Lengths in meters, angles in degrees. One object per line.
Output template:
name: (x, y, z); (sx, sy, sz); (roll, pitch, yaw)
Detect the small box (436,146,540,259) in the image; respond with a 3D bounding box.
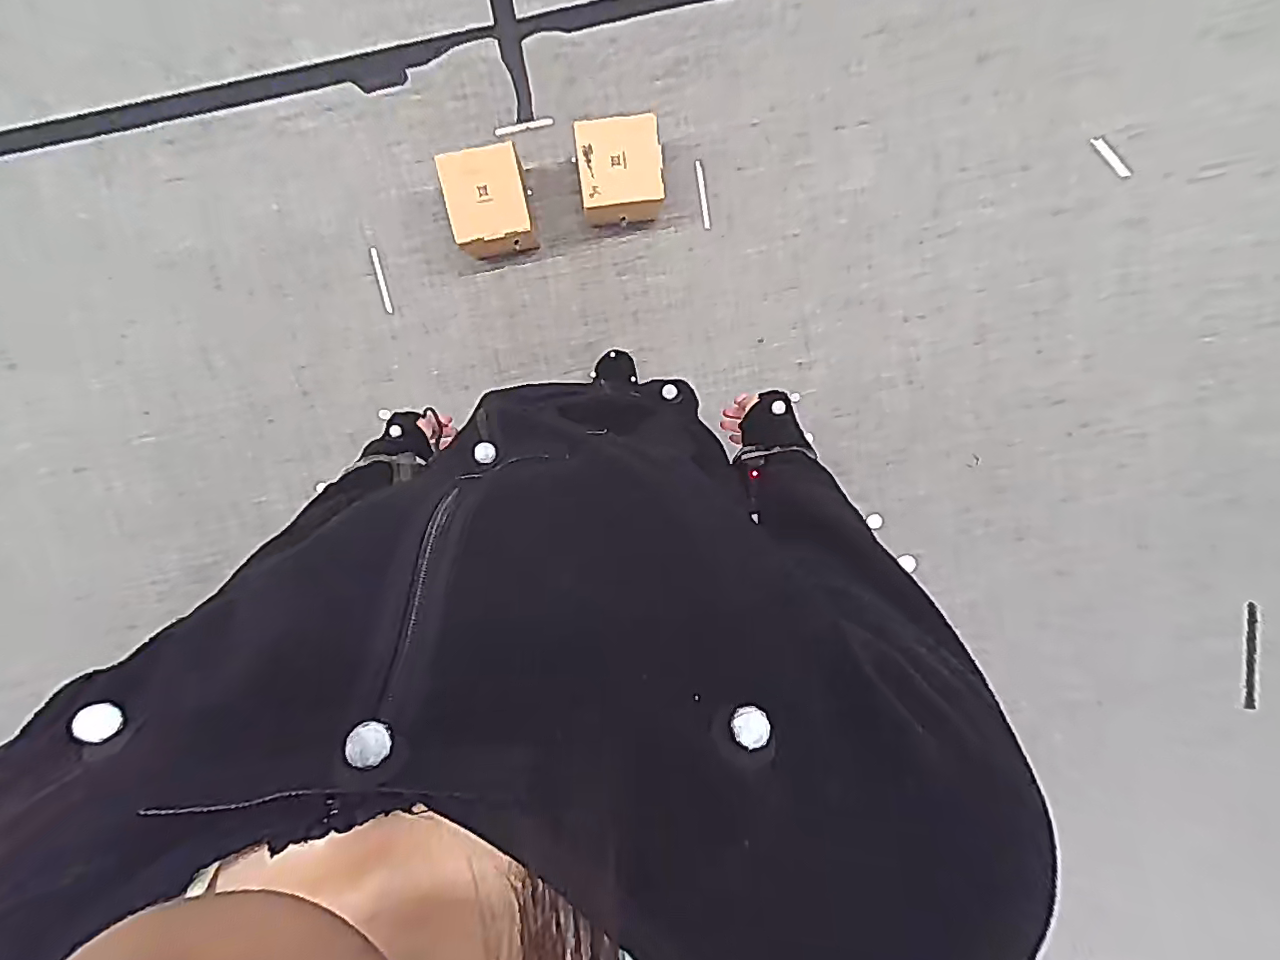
small box: (-0.328, -0.605, 1.204); (0.168, 0.176, 0.179); (-12, 102, -2)

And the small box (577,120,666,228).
small box: (-0.045, -0.674, 1.206); (0.179, 0.176, 0.168); (-7, 103, -3)
